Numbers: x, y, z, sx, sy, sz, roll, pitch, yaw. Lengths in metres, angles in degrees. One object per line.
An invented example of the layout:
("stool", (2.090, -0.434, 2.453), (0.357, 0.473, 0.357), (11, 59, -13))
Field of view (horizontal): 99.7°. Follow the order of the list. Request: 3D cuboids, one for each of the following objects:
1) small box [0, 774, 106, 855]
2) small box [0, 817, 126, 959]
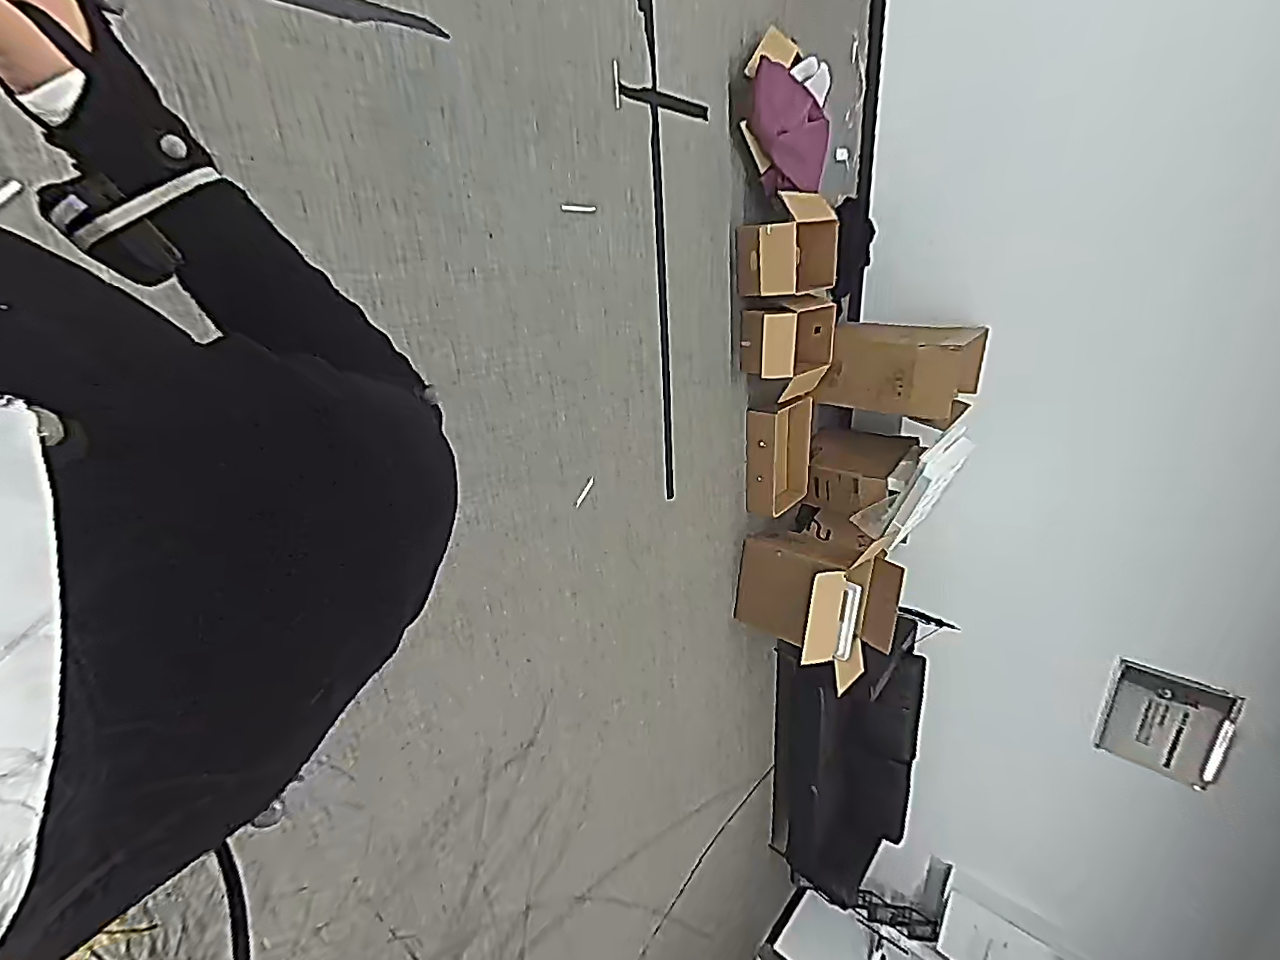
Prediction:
("small box", (-1.132, 0.679, 0.992), (0.168, 0.176, 0.179), (-27, 121, -41))
("small box", (-1.005, 0.711, 0.895), (0.168, 0.176, 0.179), (-31, 124, -41))
